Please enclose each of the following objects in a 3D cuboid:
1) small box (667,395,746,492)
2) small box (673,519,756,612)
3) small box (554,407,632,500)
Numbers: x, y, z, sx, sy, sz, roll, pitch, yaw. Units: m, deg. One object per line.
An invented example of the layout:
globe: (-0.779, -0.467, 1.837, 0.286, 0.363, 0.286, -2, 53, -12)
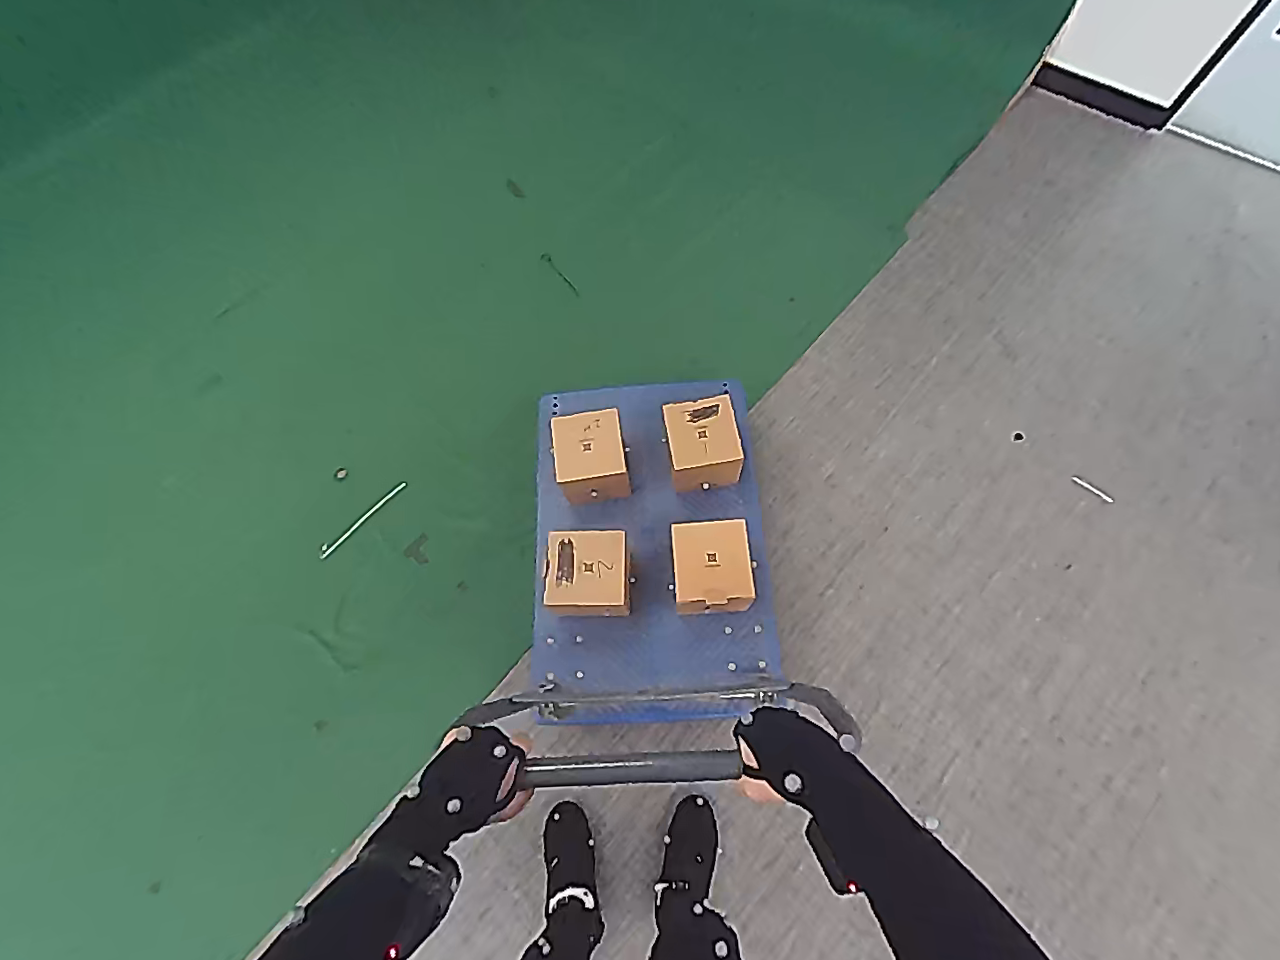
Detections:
small box: (0.157, -0.087, 1.347, 0.168, 0.176, 0.179, -9, 69, 1)
small box: (0.163, 0.200, 1.236, 0.168, 0.176, 0.179, -4, 69, 2)
small box: (-0.115, -0.058, 1.353, 0.168, 0.176, 0.179, -8, 69, 0)
